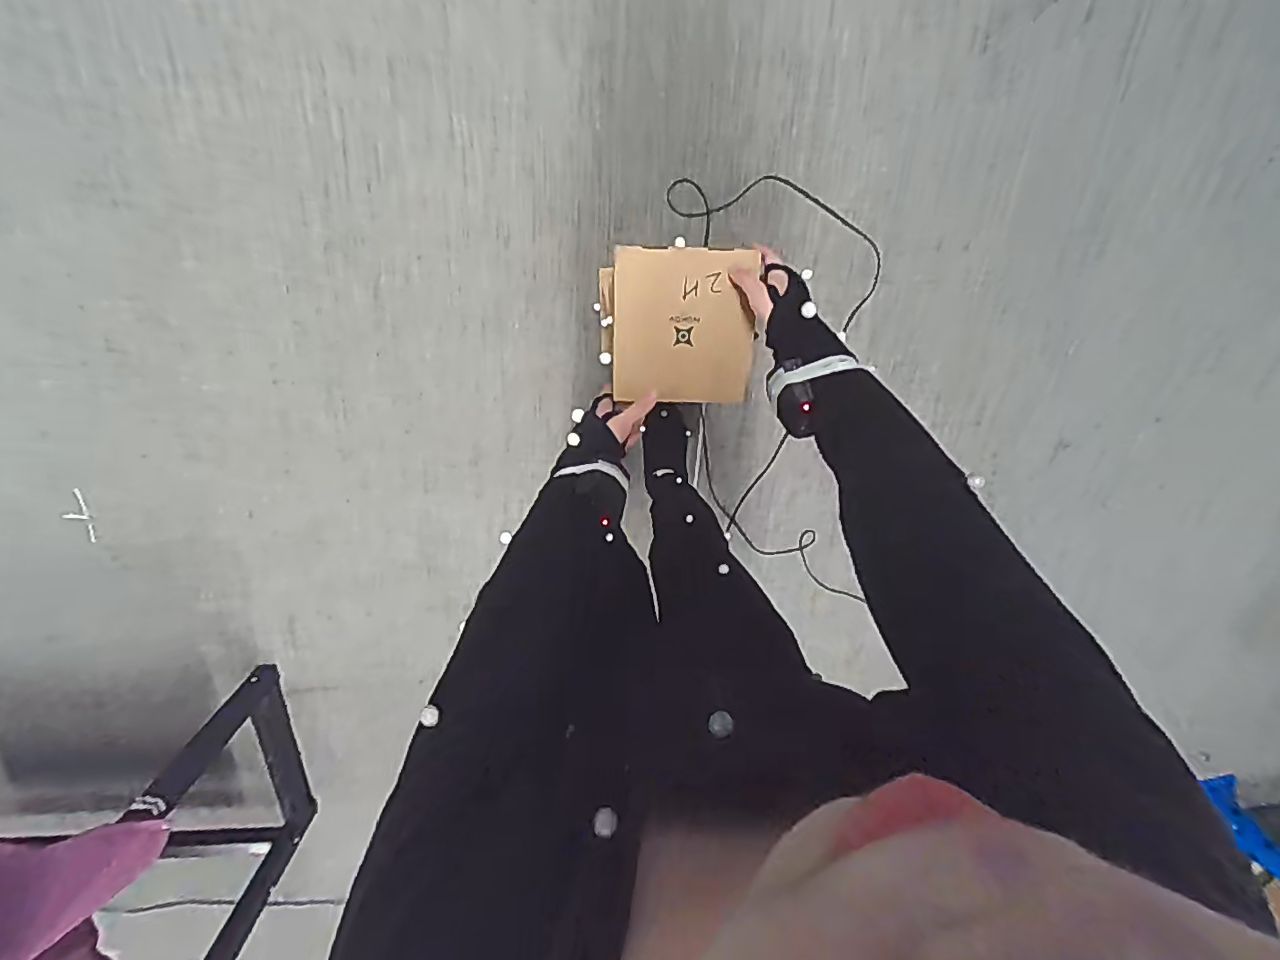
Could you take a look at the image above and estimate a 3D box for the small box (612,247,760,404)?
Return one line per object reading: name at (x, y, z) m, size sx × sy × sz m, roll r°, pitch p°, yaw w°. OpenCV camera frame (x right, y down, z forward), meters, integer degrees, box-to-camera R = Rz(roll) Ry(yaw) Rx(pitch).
small box at (0.050, -0.205, 0.711) m, size 0.168 × 0.176 × 0.179 m, roll 1°, pitch 110°, yaw -2°
